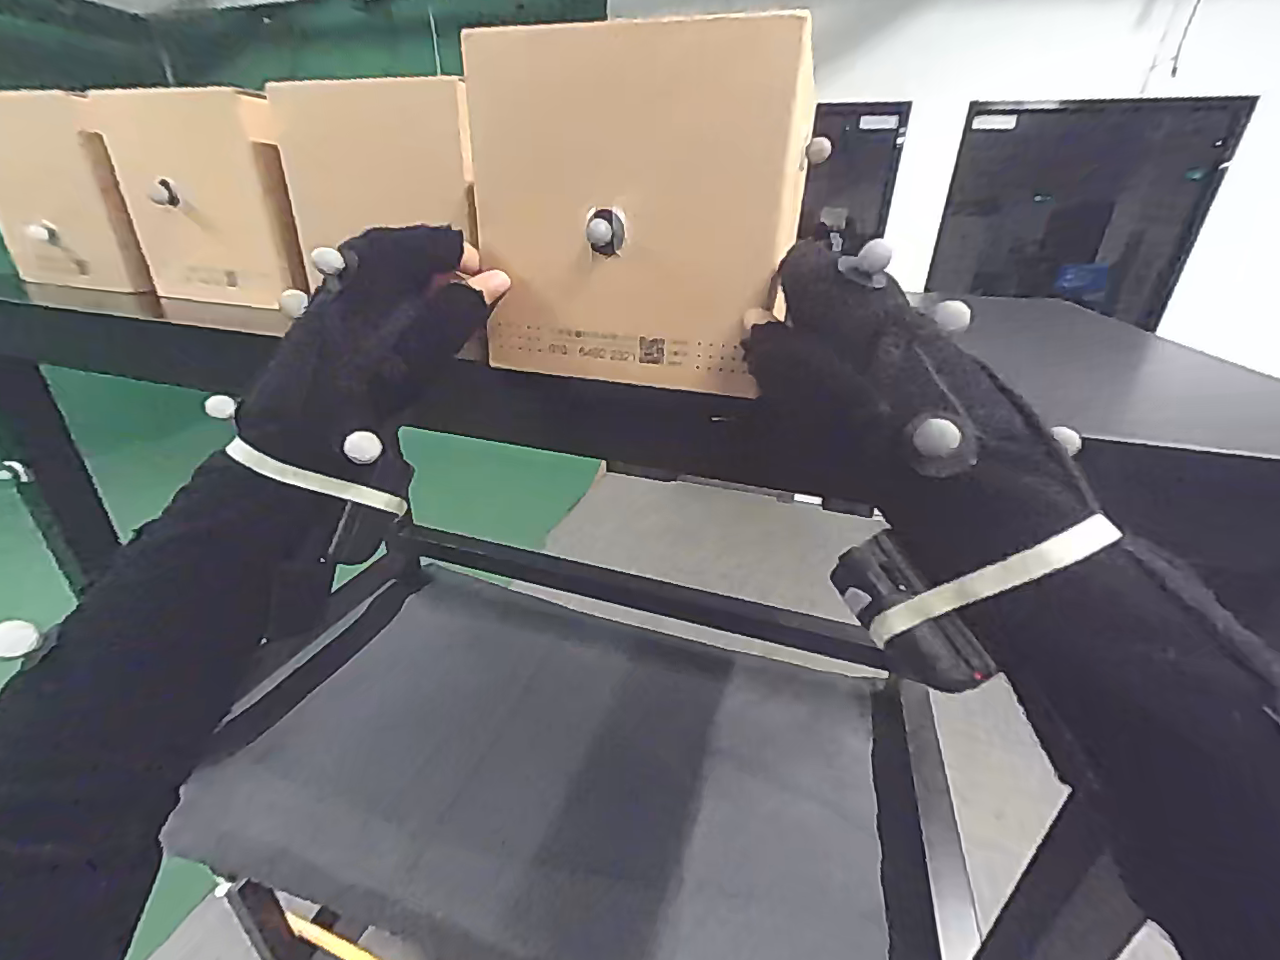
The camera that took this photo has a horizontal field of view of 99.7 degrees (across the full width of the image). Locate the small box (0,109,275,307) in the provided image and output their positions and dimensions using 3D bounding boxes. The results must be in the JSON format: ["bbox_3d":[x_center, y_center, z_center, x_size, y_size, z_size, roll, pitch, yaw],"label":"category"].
[{"bbox_3d":[-0.546,-0.296,0.598,0.168,0.176,0.179,9,28,15],"label":"small box"}]

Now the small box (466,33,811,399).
[{"bbox_3d":[0.013,-0.160,0.357,0.168,0.176,0.179,10,27,14],"label":"small box"}]
